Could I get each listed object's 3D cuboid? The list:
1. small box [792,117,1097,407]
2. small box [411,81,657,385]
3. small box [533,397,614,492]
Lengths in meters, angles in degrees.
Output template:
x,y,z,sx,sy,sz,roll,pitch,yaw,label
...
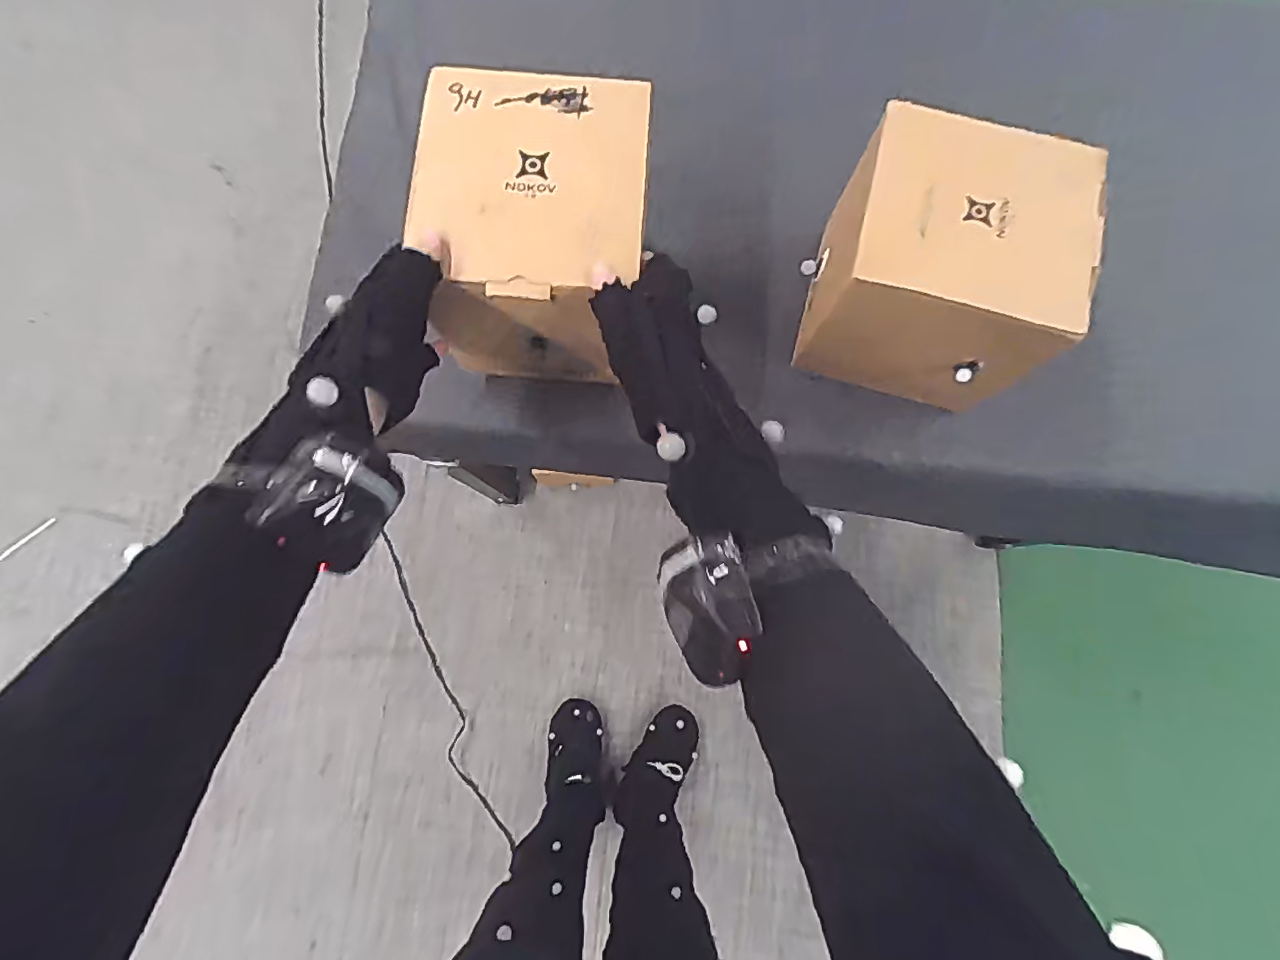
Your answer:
x,y,z,sx,sy,sz,roll,pitch,yaw,label
0.261,-0.181,0.498,0.179,0.176,0.168,14,77,3,small box
-0.075,-0.192,0.465,0.168,0.176,0.179,3,79,-1,small box
-0.144,-0.076,1.213,0.168,0.176,0.179,-2,79,-1,small box
